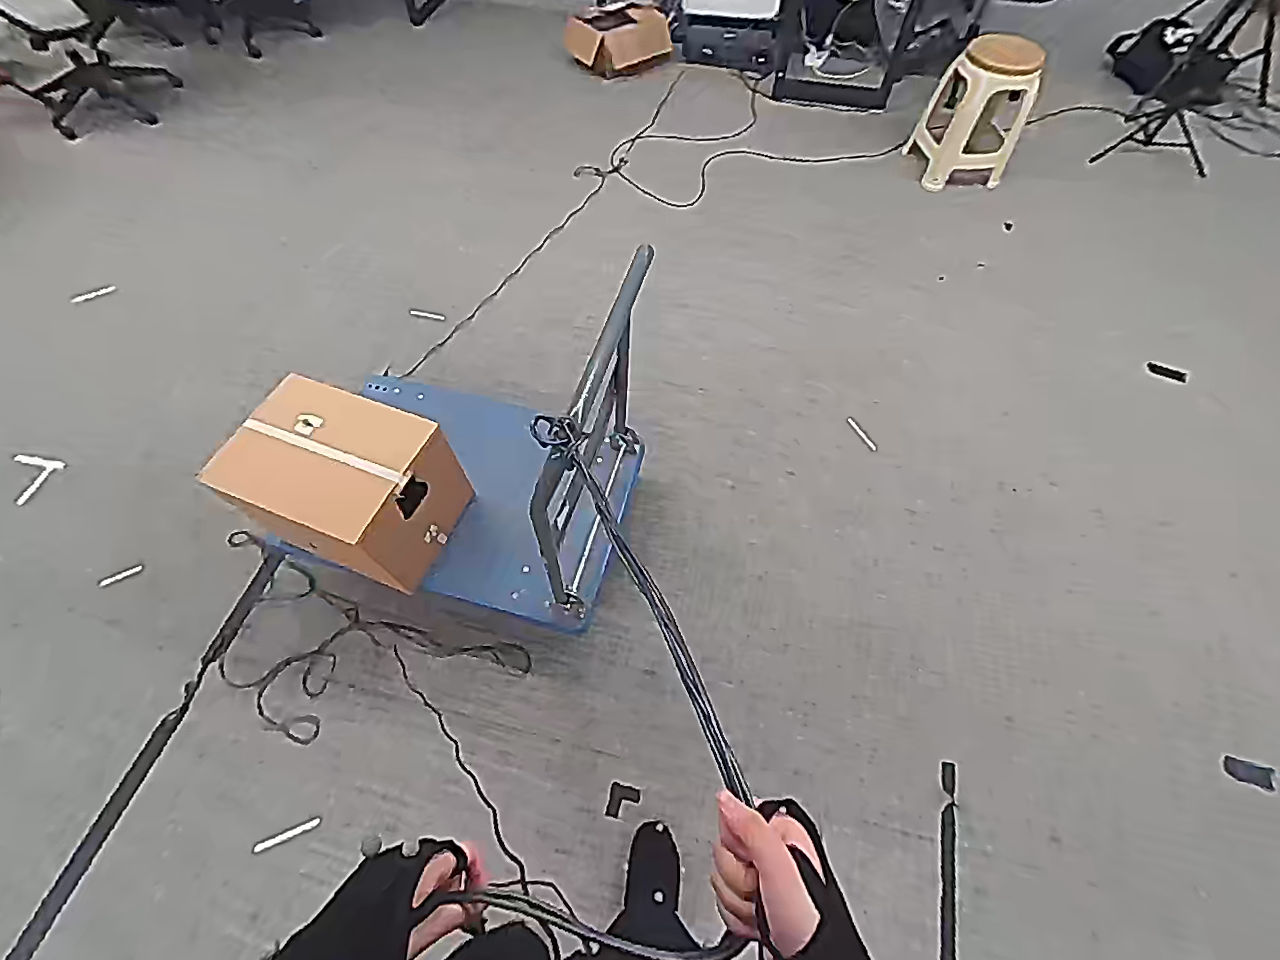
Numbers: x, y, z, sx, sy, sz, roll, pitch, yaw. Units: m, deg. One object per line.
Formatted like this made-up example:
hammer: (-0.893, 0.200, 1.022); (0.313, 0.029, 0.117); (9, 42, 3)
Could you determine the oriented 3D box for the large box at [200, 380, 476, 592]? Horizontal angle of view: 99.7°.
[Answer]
large box: (-0.669, 0.021, 1.277); (0.408, 0.320, 0.320); (18, 61, 11)
